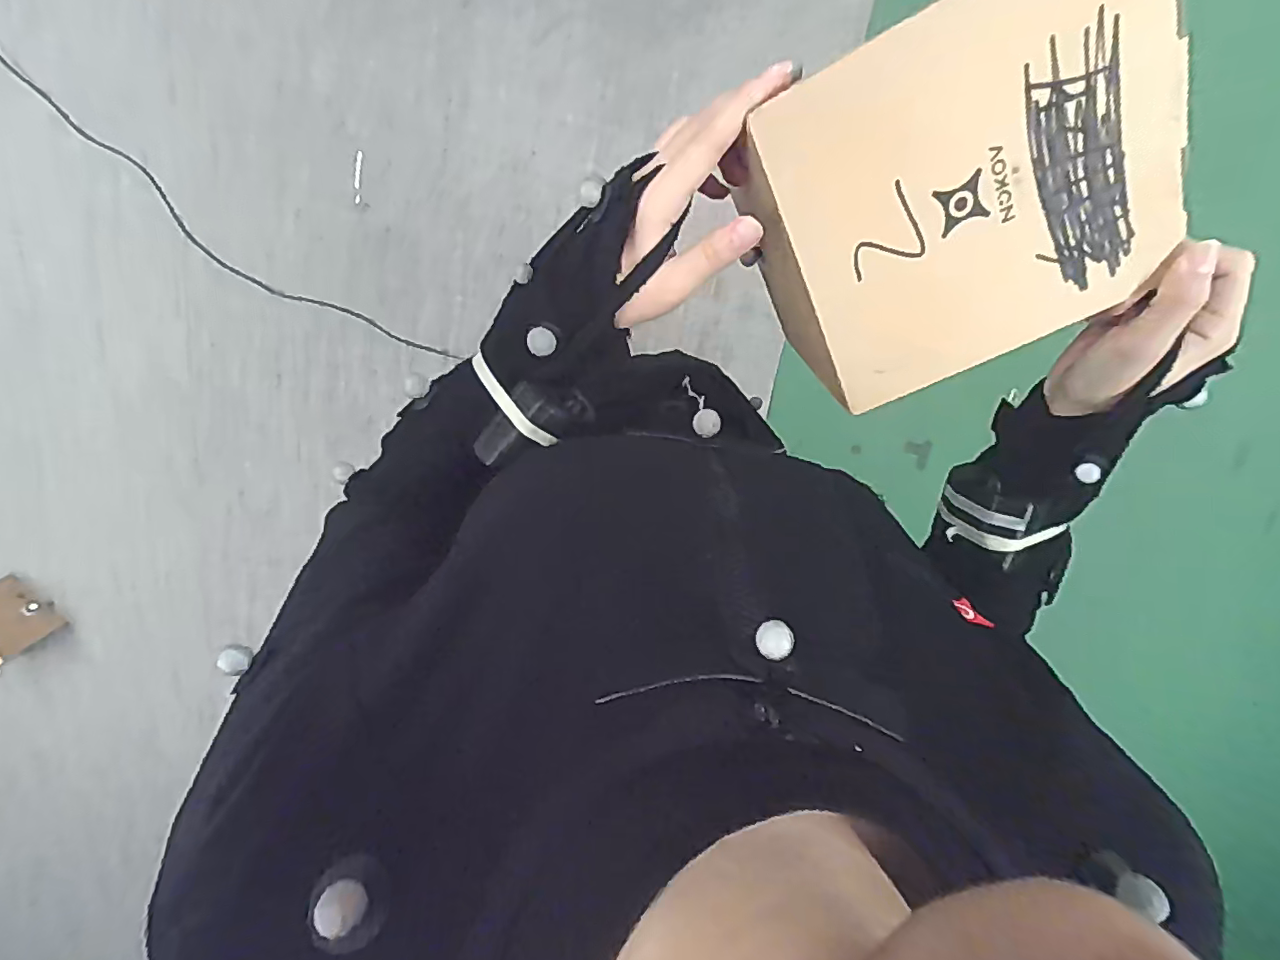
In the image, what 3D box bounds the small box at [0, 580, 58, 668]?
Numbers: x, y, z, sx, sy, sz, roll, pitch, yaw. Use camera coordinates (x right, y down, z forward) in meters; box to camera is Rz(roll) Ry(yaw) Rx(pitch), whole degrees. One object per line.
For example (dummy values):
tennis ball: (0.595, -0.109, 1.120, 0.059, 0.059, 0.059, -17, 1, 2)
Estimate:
small box: (-1.535, 0.367, 1.246, 0.179, 0.176, 0.168, -33, 110, 4)
